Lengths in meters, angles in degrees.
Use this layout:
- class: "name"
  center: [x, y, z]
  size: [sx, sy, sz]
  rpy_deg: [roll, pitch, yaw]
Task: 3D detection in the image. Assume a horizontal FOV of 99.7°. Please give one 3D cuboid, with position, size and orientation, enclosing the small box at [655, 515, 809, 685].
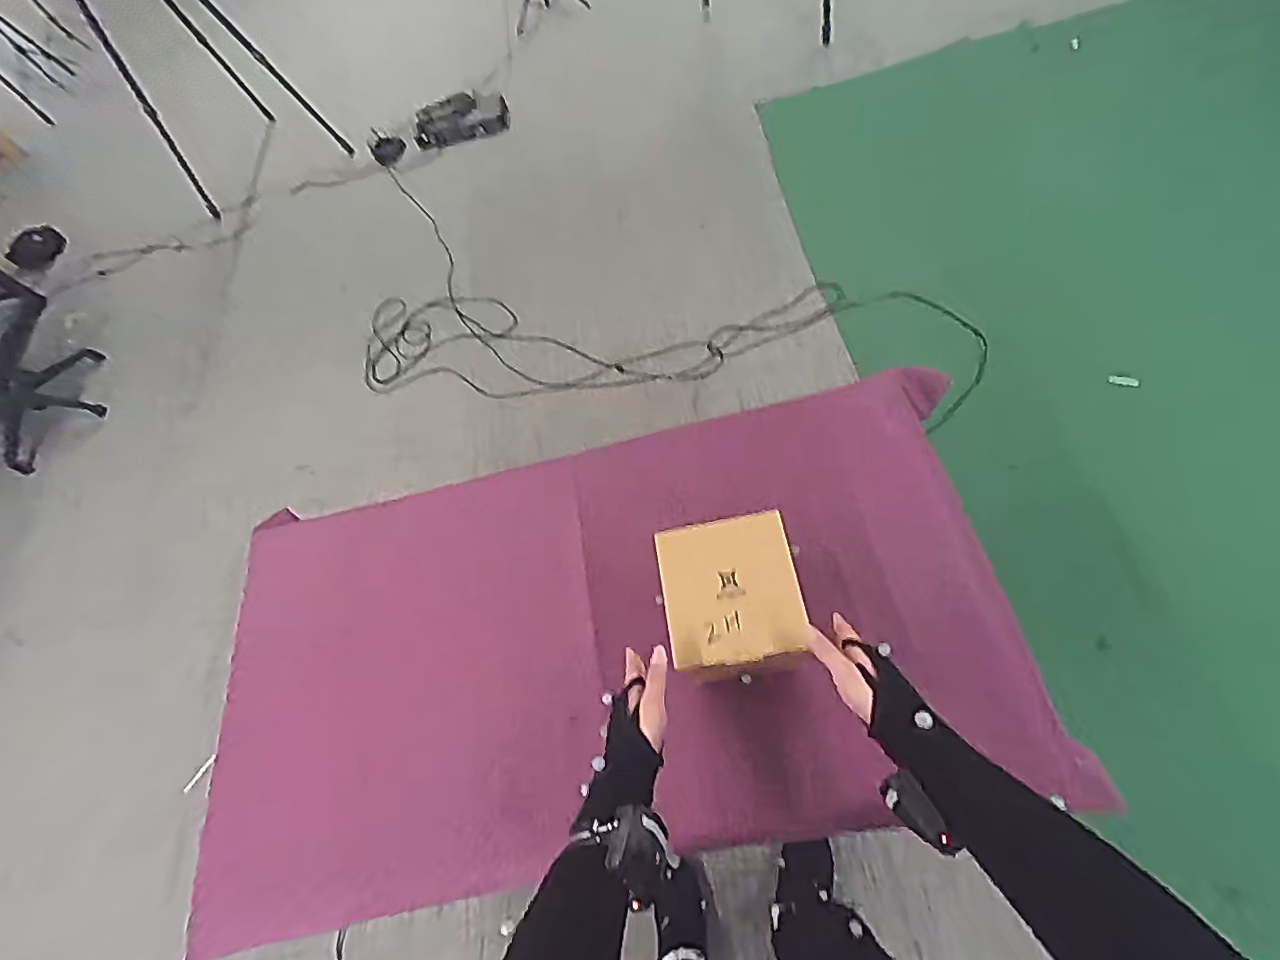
- class: "small box"
  center: [0.121, 0.169, 0.733]
  size: [0.168, 0.176, 0.179]
  rpy_deg: [-11, 63, 8]
